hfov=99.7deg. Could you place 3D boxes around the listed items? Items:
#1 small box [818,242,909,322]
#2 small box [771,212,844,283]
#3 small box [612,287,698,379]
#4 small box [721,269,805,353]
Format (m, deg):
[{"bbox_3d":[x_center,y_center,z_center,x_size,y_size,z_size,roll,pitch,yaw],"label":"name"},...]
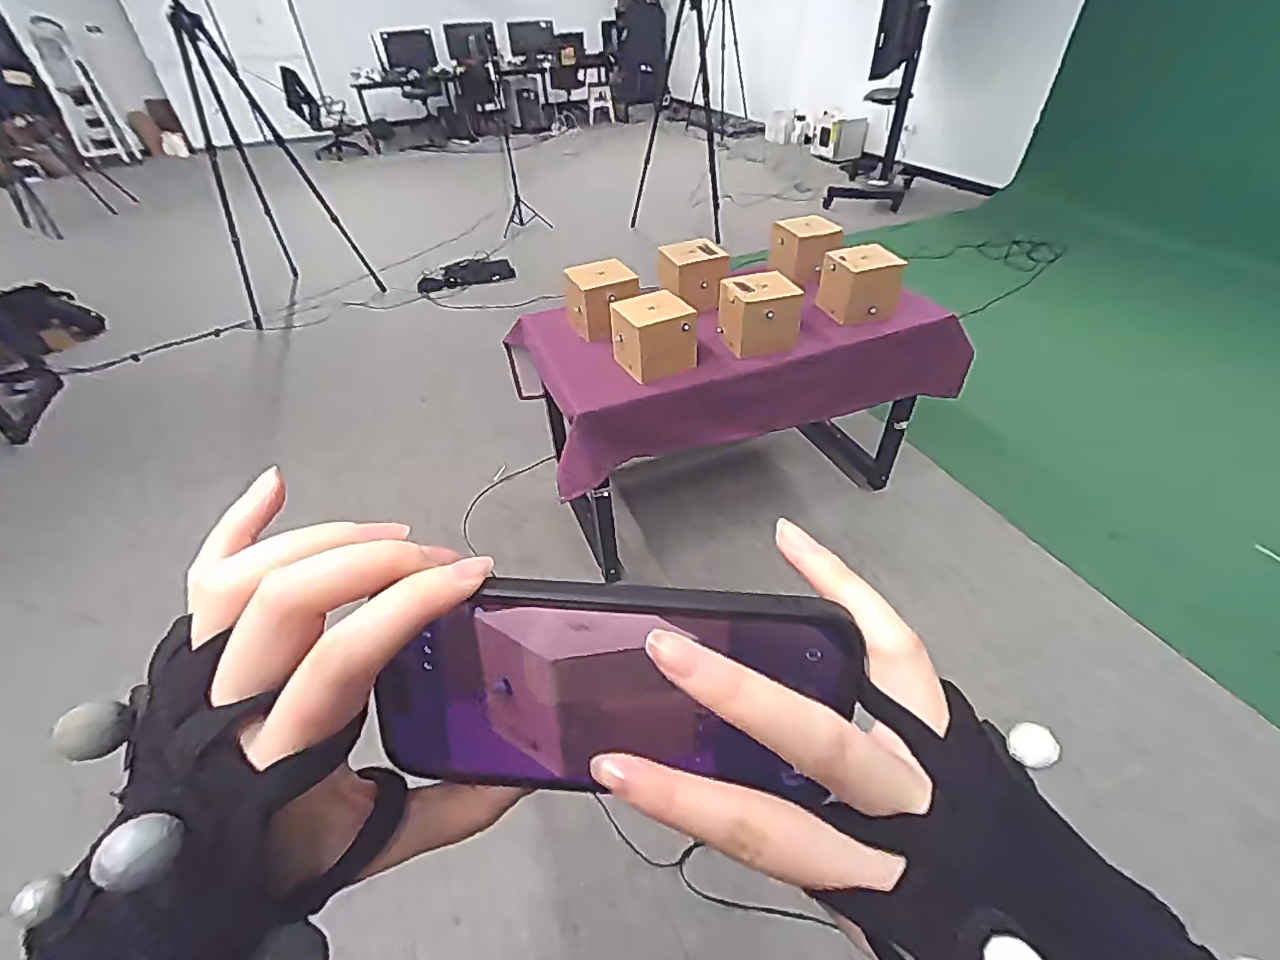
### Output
[{"bbox_3d":[0.666,-0.597,1.633,0.179,0.176,0.168,-12,43,-10],"label":"small box"},{"bbox_3d":[0.564,-0.796,1.852,0.168,0.176,0.179,-15,45,-11],"label":"small box"},{"bbox_3d":[0.040,-0.393,1.450,0.179,0.176,0.168,-20,45,-20],"label":"small box"},{"bbox_3d":[0.336,-0.472,1.518,0.179,0.176,0.168,-12,44,-11],"label":"small box"}]
